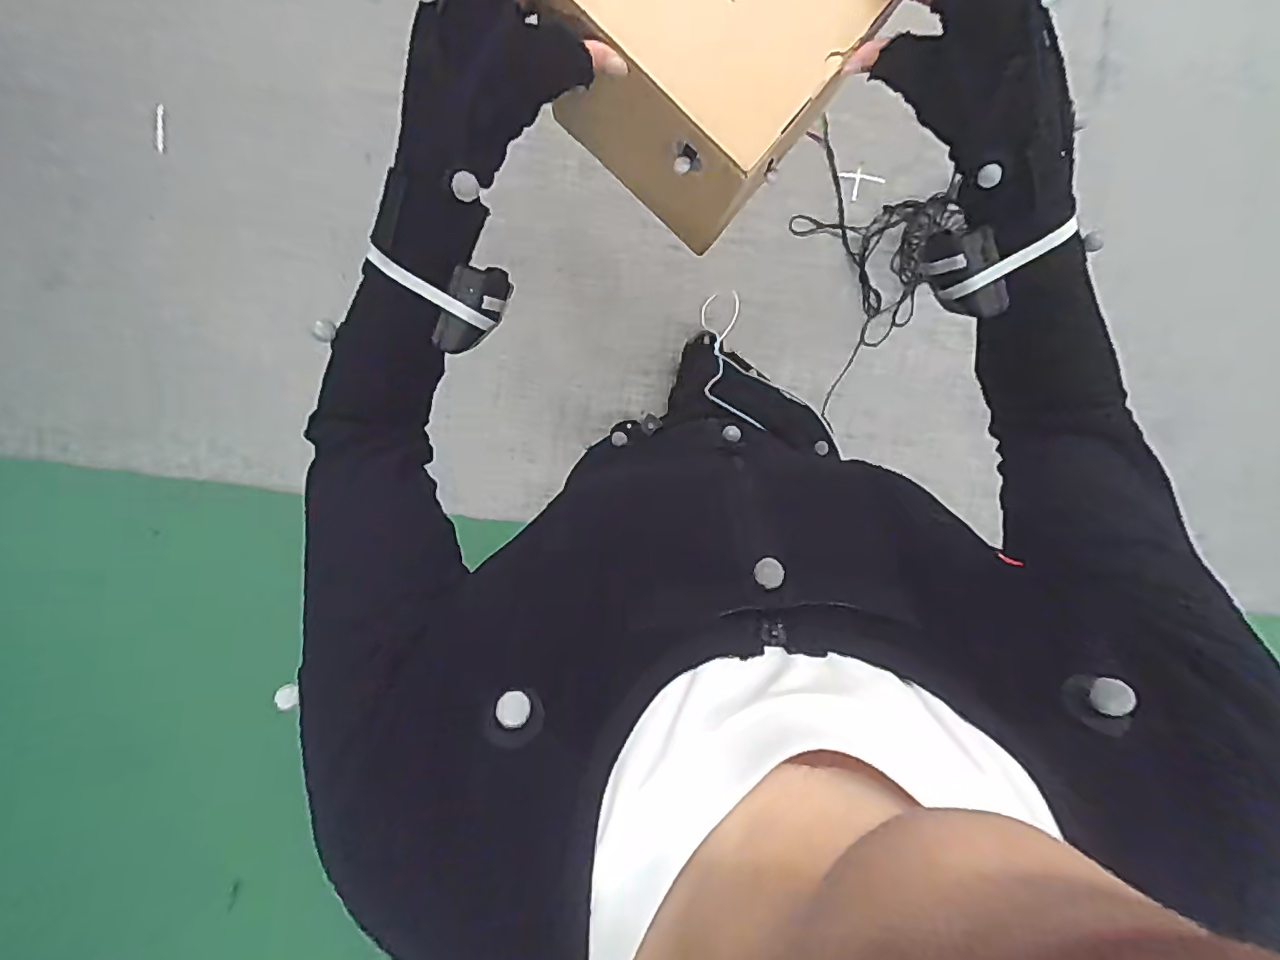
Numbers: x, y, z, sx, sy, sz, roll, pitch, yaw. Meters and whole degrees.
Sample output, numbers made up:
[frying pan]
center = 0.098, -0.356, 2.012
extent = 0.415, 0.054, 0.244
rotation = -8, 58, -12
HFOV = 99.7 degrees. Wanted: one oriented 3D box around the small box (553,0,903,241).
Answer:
[small box]
center = 0.048, -0.315, 0.401
extent = 0.179, 0.176, 0.168
rotation = 41, 92, -9
